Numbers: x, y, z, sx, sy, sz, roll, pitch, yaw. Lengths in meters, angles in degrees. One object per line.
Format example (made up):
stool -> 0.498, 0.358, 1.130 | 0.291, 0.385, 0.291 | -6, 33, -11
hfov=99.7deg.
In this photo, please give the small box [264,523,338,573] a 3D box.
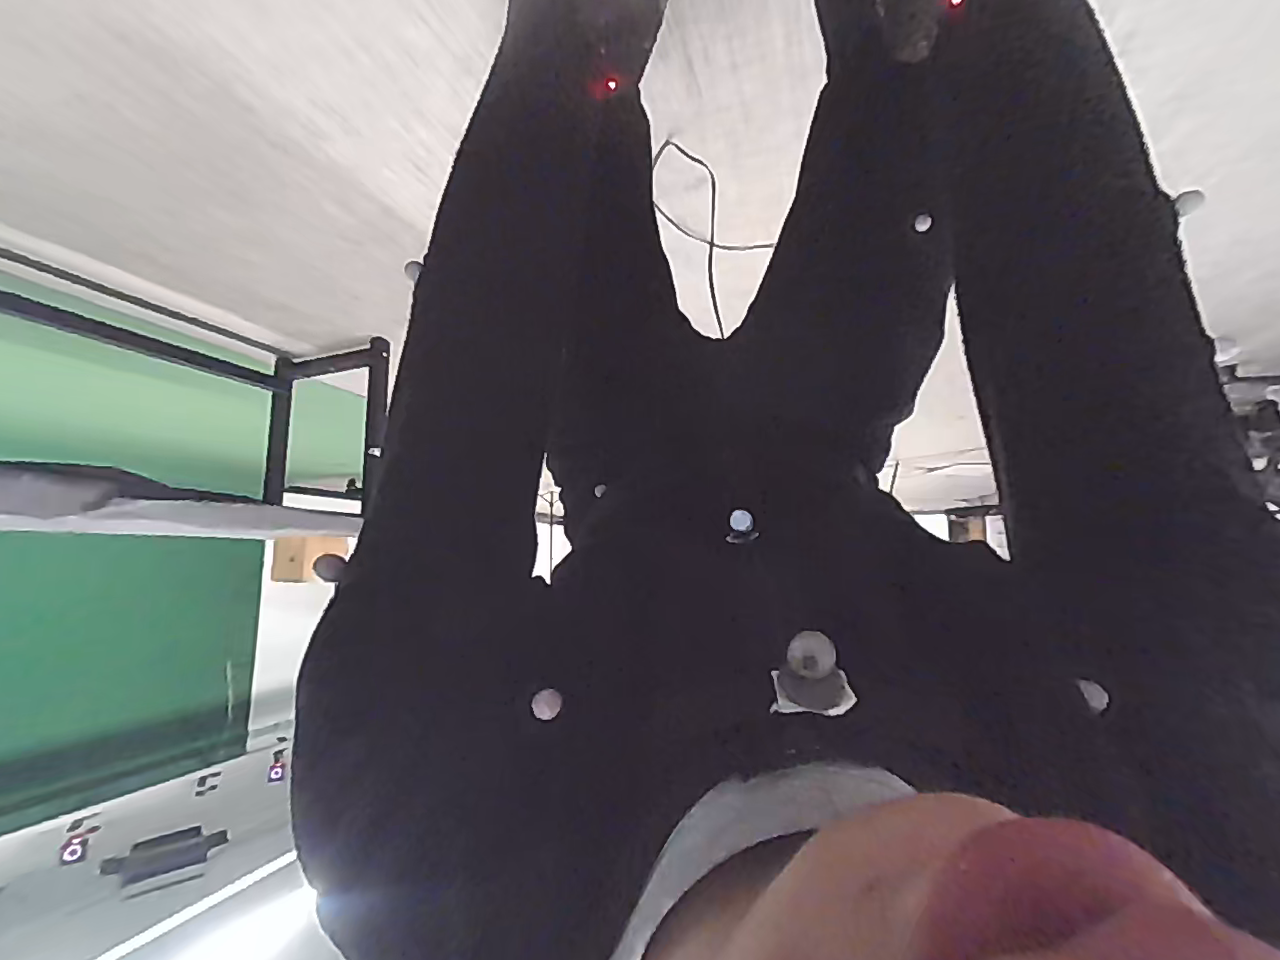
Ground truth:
small box -> -1.228, 0.245, 1.963 | 0.179, 0.176, 0.168 | -4, 171, 22
